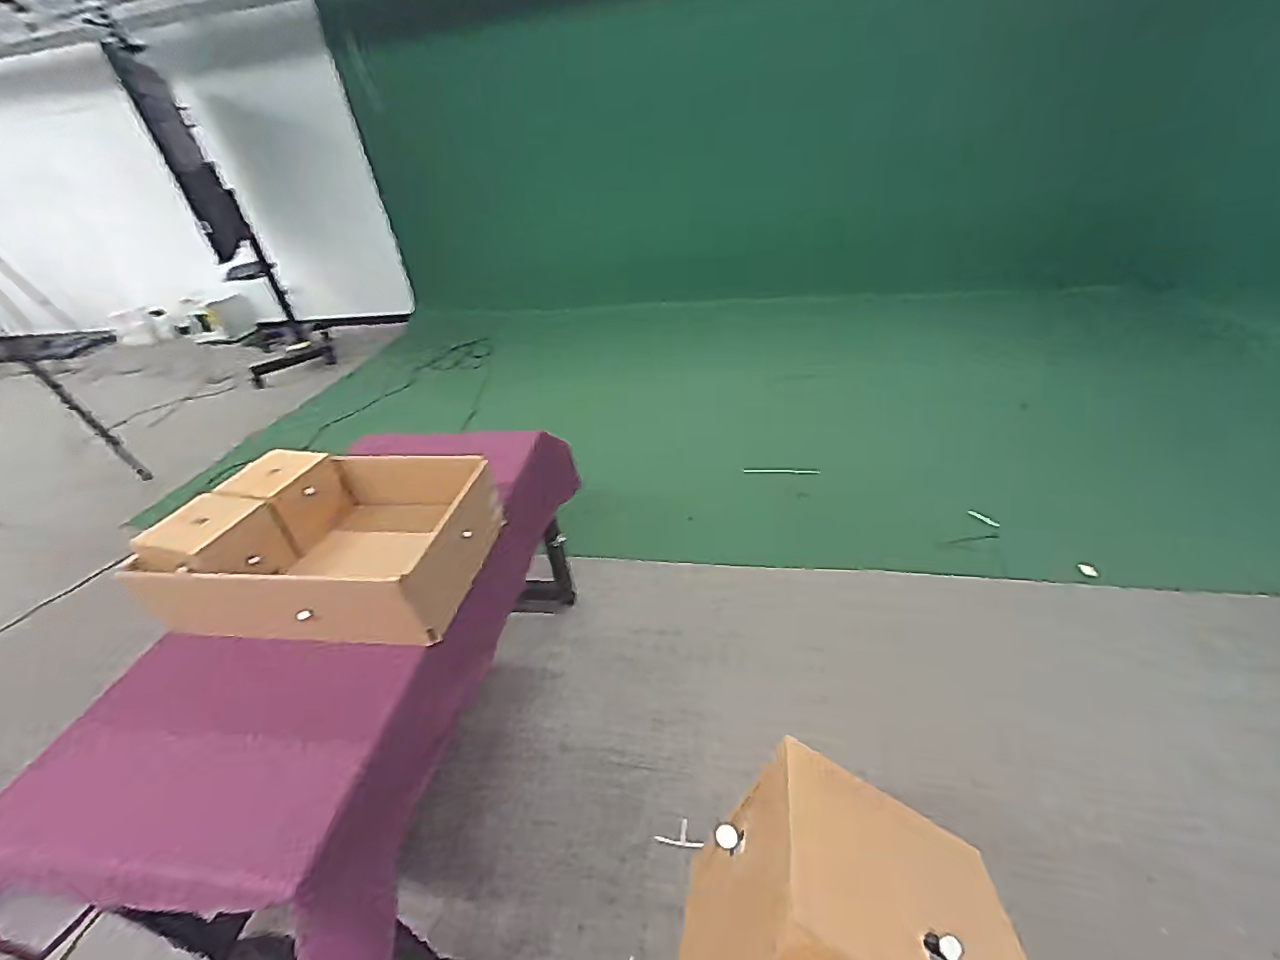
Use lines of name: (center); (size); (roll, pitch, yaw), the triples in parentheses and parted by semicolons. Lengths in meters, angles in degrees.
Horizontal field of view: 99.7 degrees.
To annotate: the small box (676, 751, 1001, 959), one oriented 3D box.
small box: (0.138, 0.343, 0.394); (0.179, 0.168, 0.176); (29, 16, 6)
